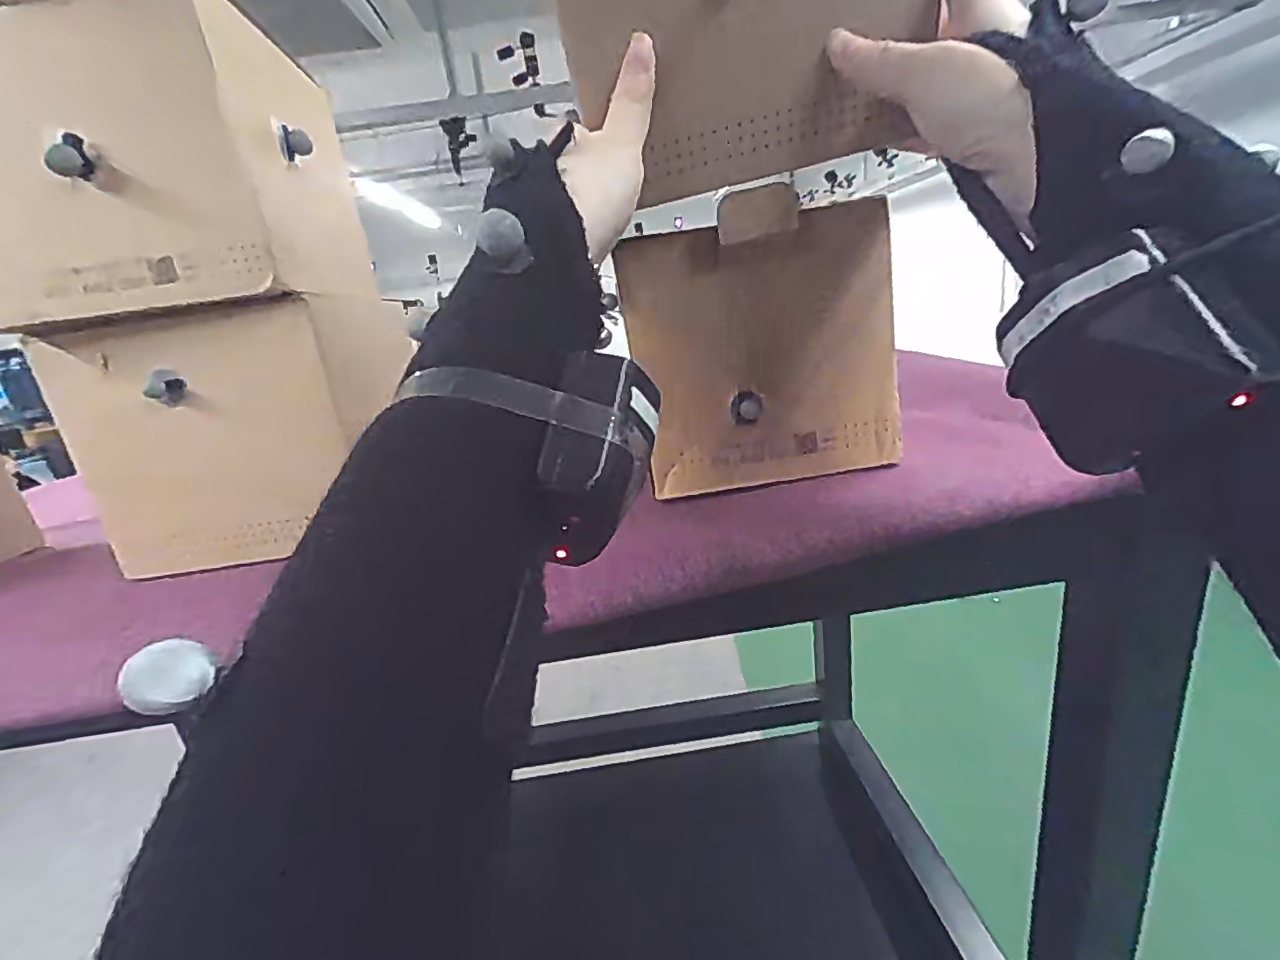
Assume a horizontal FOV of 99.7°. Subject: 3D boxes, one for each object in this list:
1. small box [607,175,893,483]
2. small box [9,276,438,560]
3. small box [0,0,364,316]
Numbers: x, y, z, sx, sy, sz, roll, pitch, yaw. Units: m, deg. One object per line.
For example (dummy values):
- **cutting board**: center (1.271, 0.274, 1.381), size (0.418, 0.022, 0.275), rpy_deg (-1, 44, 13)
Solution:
- **small box**: center (0.074, -0.105, 0.413), size (0.168, 0.176, 0.179), rpy_deg (-10, 16, 3)
- **small box**: center (-0.283, -0.049, 0.417), size (0.179, 0.176, 0.168), rpy_deg (-8, 17, 0)
- **small box**: center (-0.311, -0.201, 0.359), size (0.168, 0.176, 0.179), rpy_deg (-10, 17, -4)
